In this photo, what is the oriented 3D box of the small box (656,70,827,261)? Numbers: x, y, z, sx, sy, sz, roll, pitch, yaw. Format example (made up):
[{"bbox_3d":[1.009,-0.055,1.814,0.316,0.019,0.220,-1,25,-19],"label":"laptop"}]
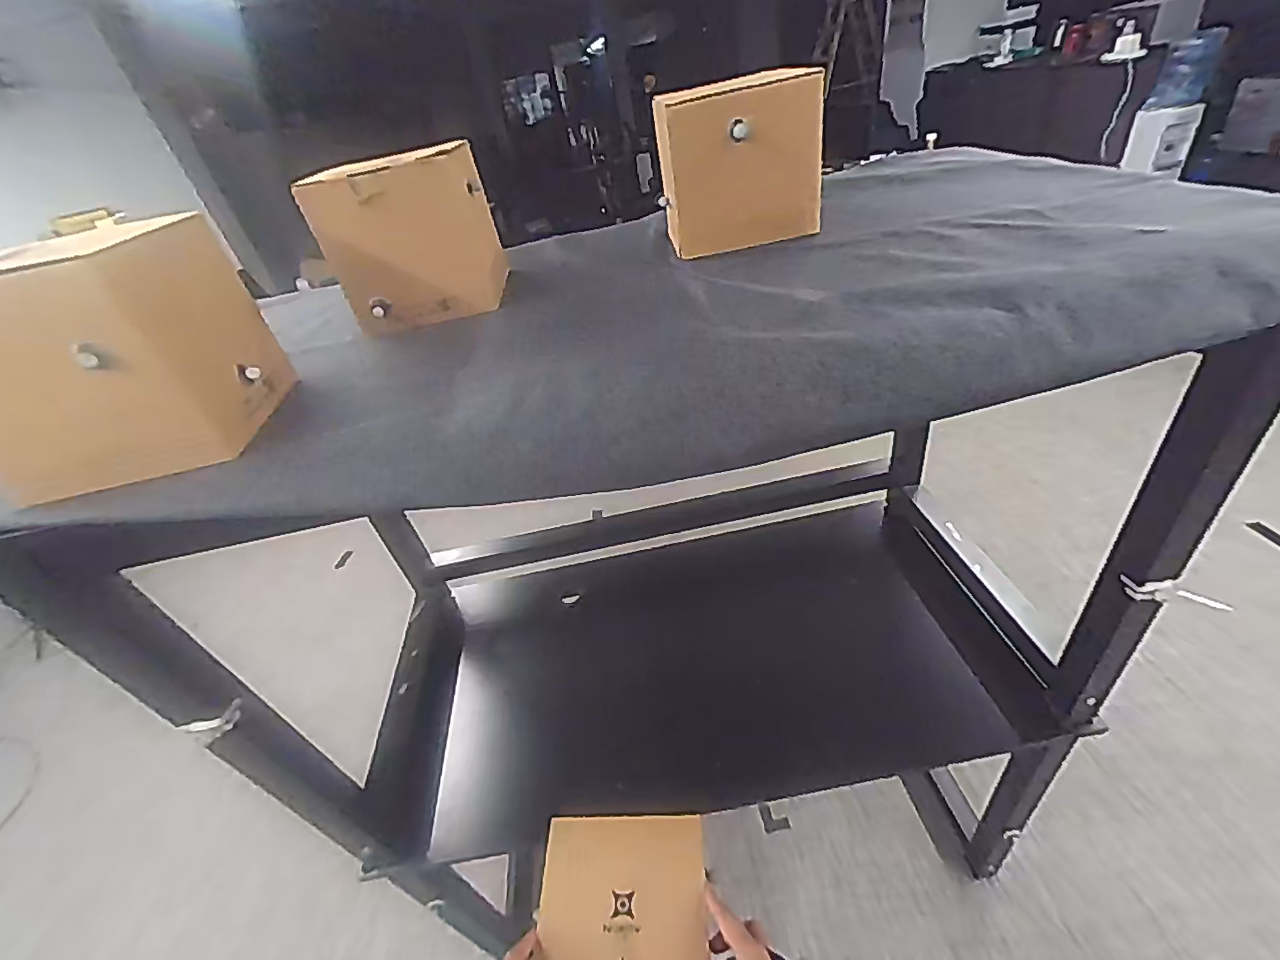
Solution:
[{"bbox_3d":[0.123,-0.398,0.685,0.179,0.176,0.168,-11,37,4],"label":"small box"}]

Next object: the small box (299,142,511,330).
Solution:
[{"bbox_3d":[-0.269,-0.299,0.671,0.168,0.176,0.179,-12,36,1],"label":"small box"}]

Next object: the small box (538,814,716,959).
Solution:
[{"bbox_3d":[-0.005,0.479,0.568,0.168,0.176,0.179,-4,39,5],"label":"small box"}]
